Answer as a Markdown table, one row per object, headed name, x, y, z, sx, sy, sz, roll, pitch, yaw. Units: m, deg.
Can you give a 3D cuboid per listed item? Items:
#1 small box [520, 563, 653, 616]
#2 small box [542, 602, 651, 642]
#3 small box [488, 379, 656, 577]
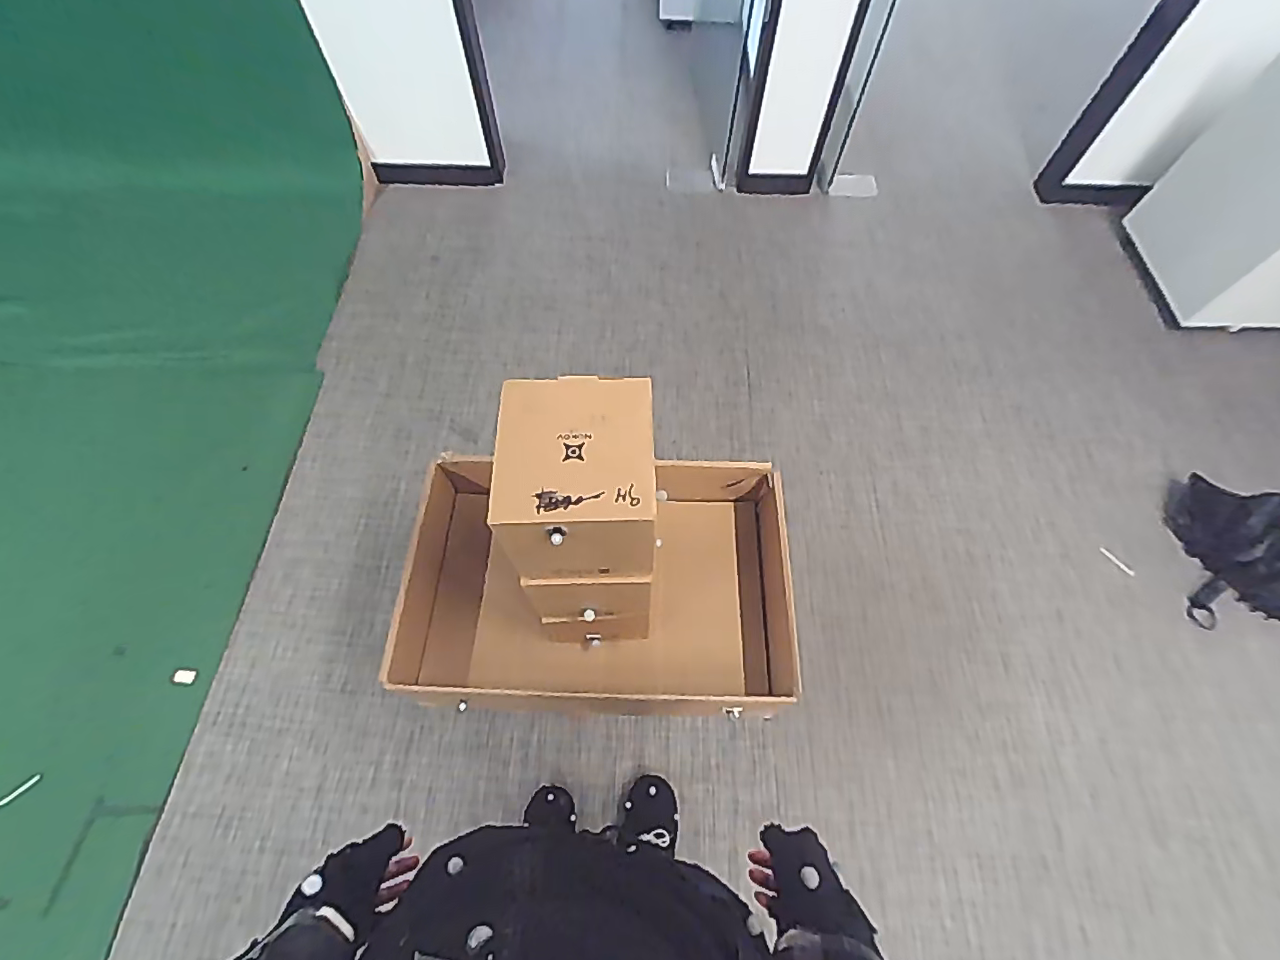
| name | x | y | z | sx | sy | sz | roll | pitch | yaw |
| --- | --- | --- | --- | --- | --- | --- | --- | --- | --- |
| small box | -0.067 | 0.088 | 0.774 | 0.168 | 0.176 | 0.179 | -1 | 62 | 0 |
| small box | -0.069 | 0.167 | 0.918 | 0.168 | 0.176 | 0.179 | -3 | 63 | -1 |
| small box | -0.067 | 0.003 | 0.634 | 0.168 | 0.176 | 0.179 | -2 | 61 | 1 |
